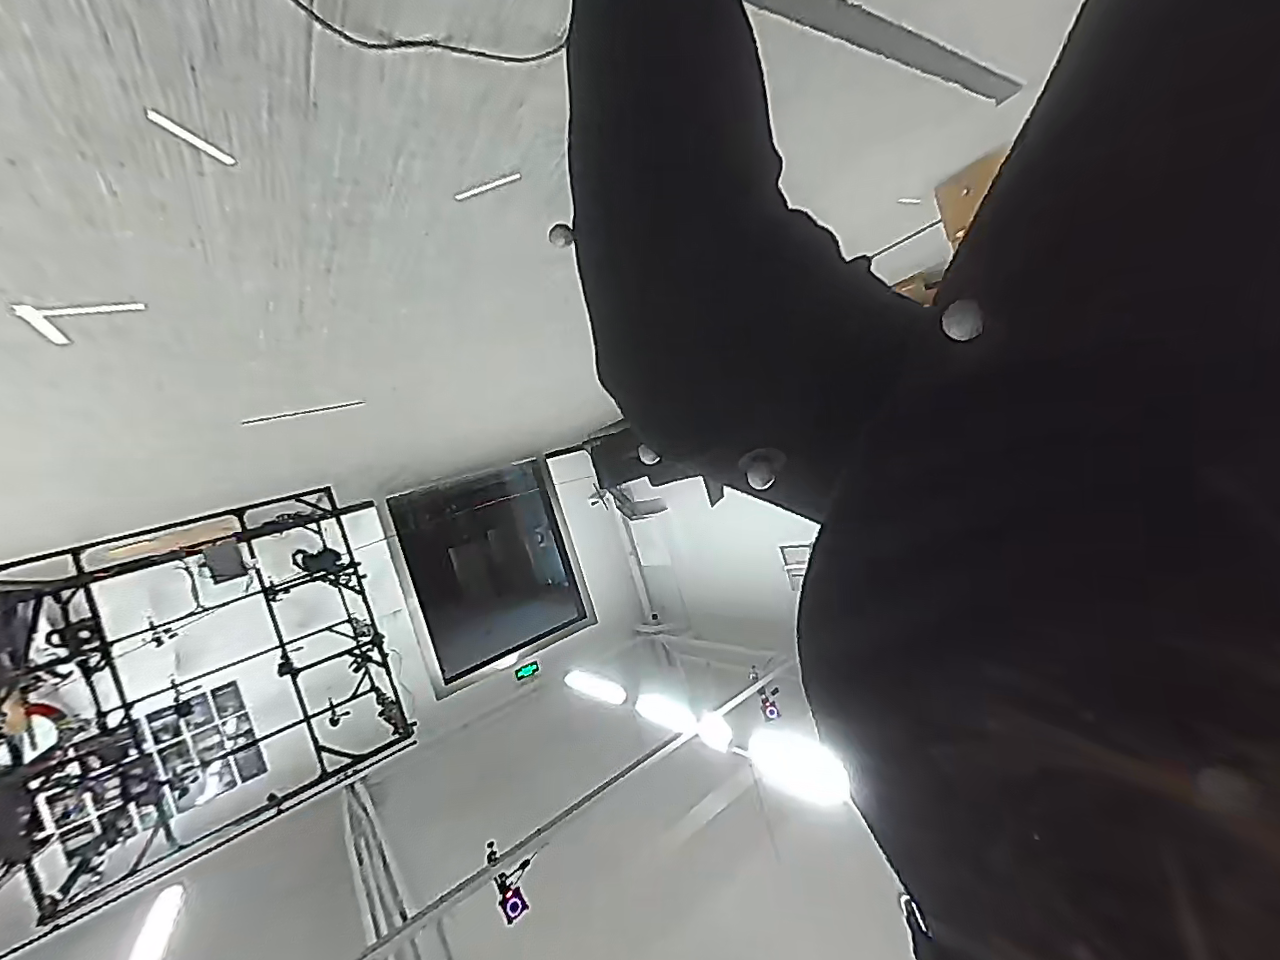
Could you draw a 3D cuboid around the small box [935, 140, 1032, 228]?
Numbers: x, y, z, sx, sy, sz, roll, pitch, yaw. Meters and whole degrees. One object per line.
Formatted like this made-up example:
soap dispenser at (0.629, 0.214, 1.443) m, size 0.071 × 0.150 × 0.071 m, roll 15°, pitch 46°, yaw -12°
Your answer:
small box at (0.997, -0.858, 1.570) m, size 0.179 × 0.176 × 0.168 m, roll -19°, pitch -177°, yaw -31°
